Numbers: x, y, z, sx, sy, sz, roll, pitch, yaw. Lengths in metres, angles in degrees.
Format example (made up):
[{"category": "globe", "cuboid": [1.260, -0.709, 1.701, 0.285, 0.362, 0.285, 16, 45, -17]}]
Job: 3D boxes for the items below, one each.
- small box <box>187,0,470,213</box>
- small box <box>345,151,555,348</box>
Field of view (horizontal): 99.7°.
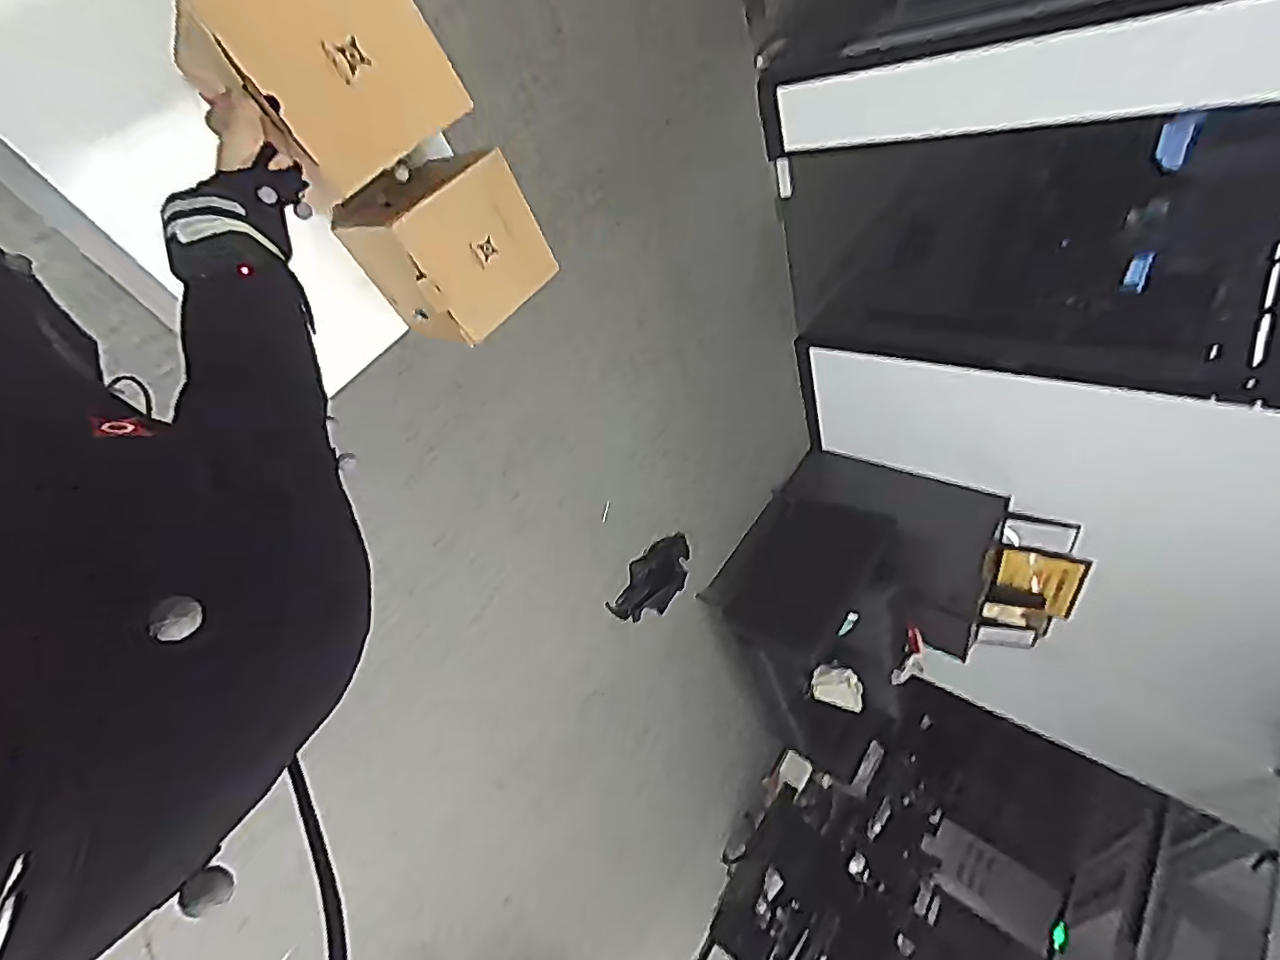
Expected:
[{"category": "small box", "cuboid": [-0.317, -0.398, 0.550, 0.179, 0.176, 0.168, -48, 131, -18]}, {"category": "small box", "cuboid": [-0.254, -0.301, 0.715, 0.179, 0.176, 0.168, -52, 140, -21]}]
